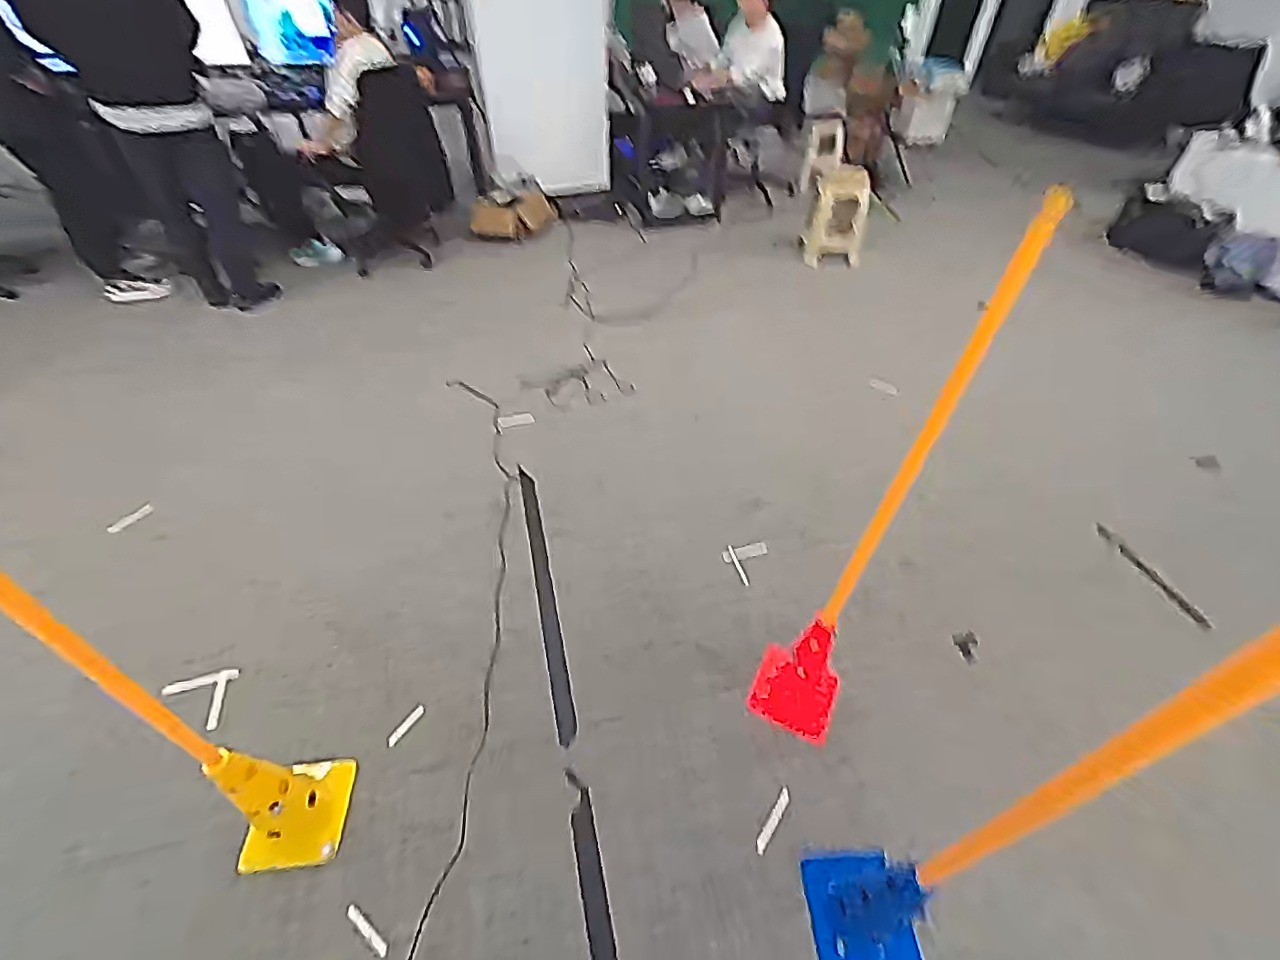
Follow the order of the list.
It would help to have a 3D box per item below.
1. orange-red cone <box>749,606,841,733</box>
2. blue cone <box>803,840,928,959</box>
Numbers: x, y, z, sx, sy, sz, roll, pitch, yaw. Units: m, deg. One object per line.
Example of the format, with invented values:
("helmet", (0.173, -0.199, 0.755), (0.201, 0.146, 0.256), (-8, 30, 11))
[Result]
("orange-red cone", (0.400, 0.411, 1.279), (0.198, 0.360, 0.199), (22, 50, 21))
("blue cone", (0.438, 0.730, 0.974), (0.193, 0.380, 0.192), (0, 44, 0))
